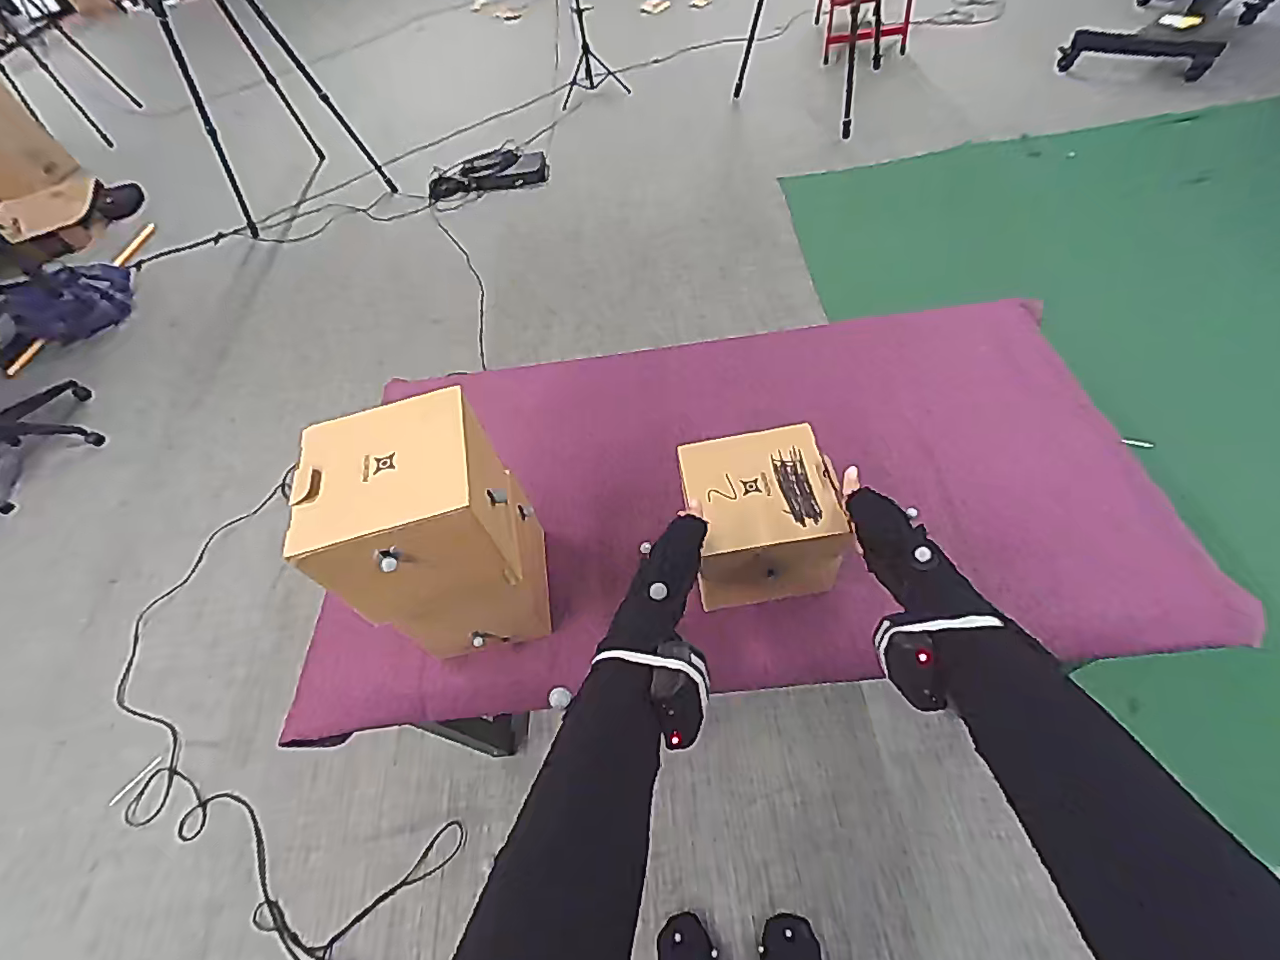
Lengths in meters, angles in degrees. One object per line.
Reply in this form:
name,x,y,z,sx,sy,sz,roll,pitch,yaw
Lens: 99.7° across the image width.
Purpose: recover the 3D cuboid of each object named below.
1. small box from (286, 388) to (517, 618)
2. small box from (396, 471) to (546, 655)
small box,-0.245,0.031,0.600,0.179,0.176,0.168,-16,55,-2
small box,-0.230,0.117,0.738,0.168,0.176,0.179,-11,54,0
